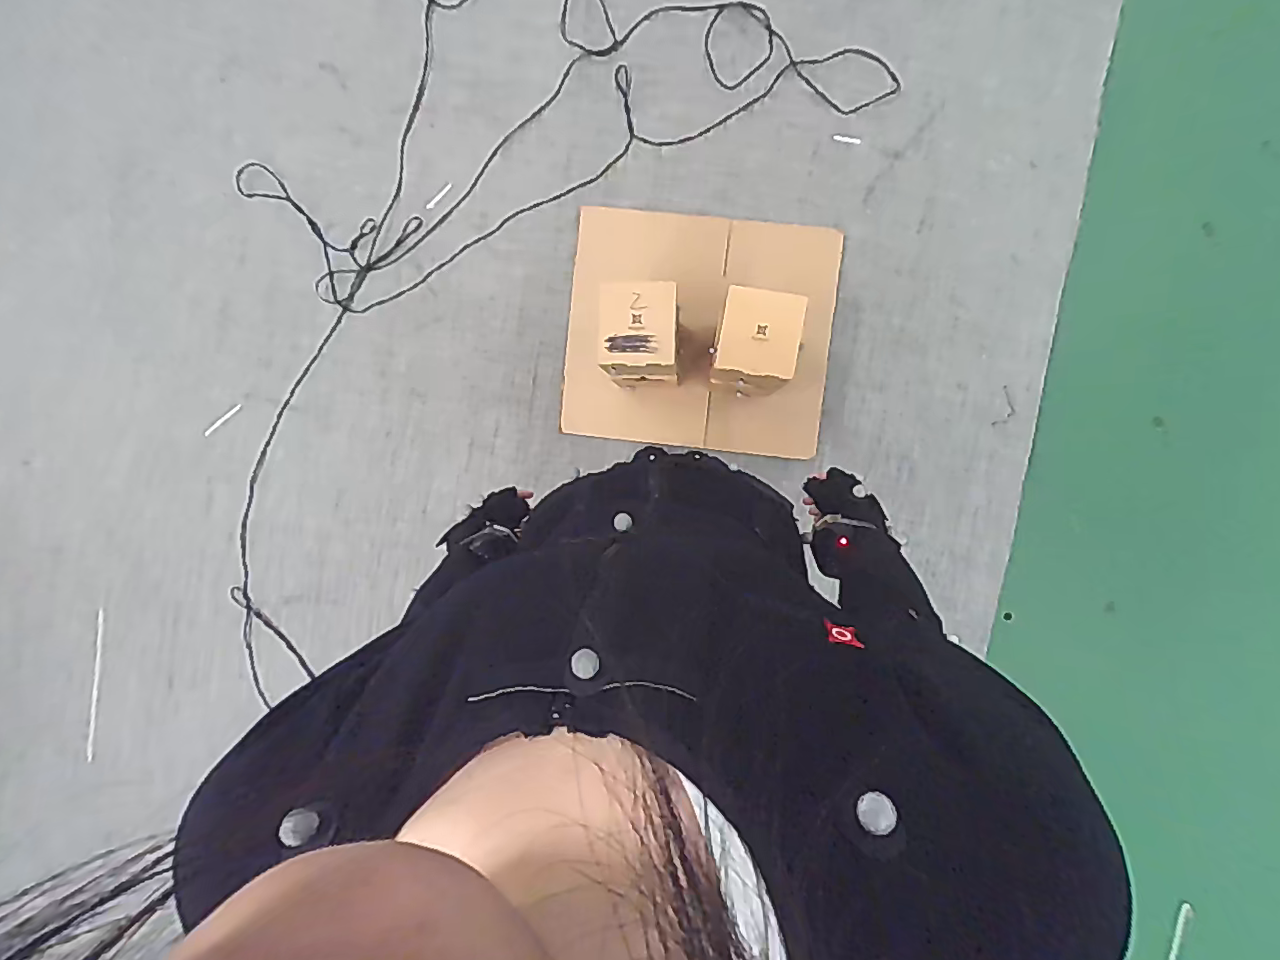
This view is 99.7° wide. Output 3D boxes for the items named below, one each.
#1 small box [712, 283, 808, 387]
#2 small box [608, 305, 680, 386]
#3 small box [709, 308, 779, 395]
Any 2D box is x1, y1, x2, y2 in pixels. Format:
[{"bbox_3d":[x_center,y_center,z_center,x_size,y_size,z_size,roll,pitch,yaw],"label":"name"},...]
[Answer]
[{"bbox_3d":[0.255,-0.311,1.189,0.168,0.176,0.179,10,95,4],"label":"small box"},{"bbox_3d":[0.015,-0.332,1.365,0.168,0.176,0.179,2,94,4],"label":"small box"},{"bbox_3d":[0.264,-0.315,1.352,0.168,0.176,0.179,7,95,5],"label":"small box"}]
